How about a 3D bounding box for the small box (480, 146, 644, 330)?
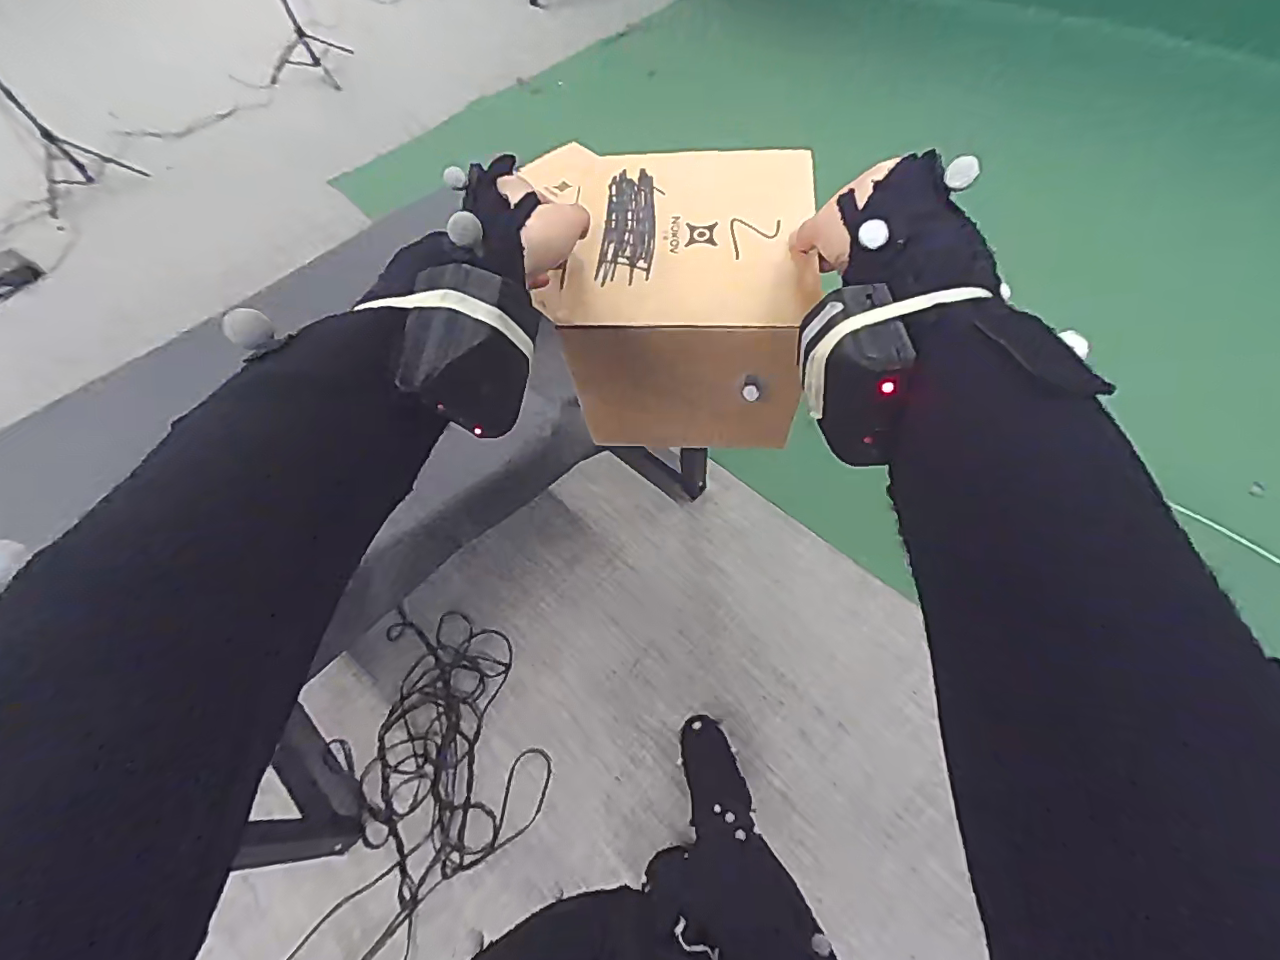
[{"bbox_3d":[-0.107,-0.365,0.829,0.179,0.176,0.168,-38,64,-17],"label":"small box"}]
